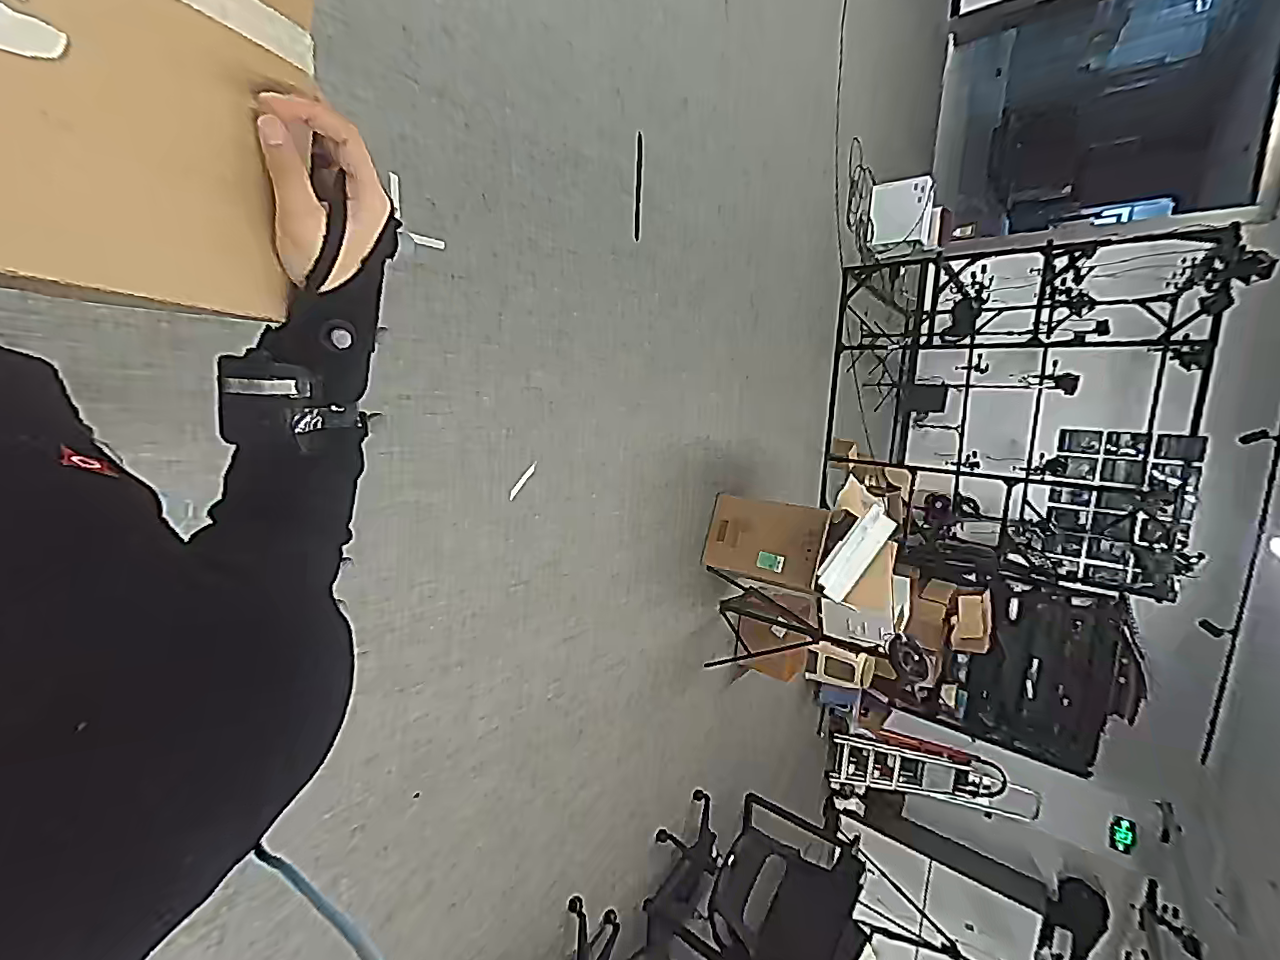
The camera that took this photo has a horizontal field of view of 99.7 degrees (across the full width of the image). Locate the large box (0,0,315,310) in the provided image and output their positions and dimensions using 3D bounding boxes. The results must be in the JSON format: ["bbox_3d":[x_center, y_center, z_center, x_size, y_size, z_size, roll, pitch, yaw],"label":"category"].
[{"bbox_3d":[-0.434,-0.276,0.238,0.408,0.320,0.320,-6,108,-59],"label":"large box"}]
